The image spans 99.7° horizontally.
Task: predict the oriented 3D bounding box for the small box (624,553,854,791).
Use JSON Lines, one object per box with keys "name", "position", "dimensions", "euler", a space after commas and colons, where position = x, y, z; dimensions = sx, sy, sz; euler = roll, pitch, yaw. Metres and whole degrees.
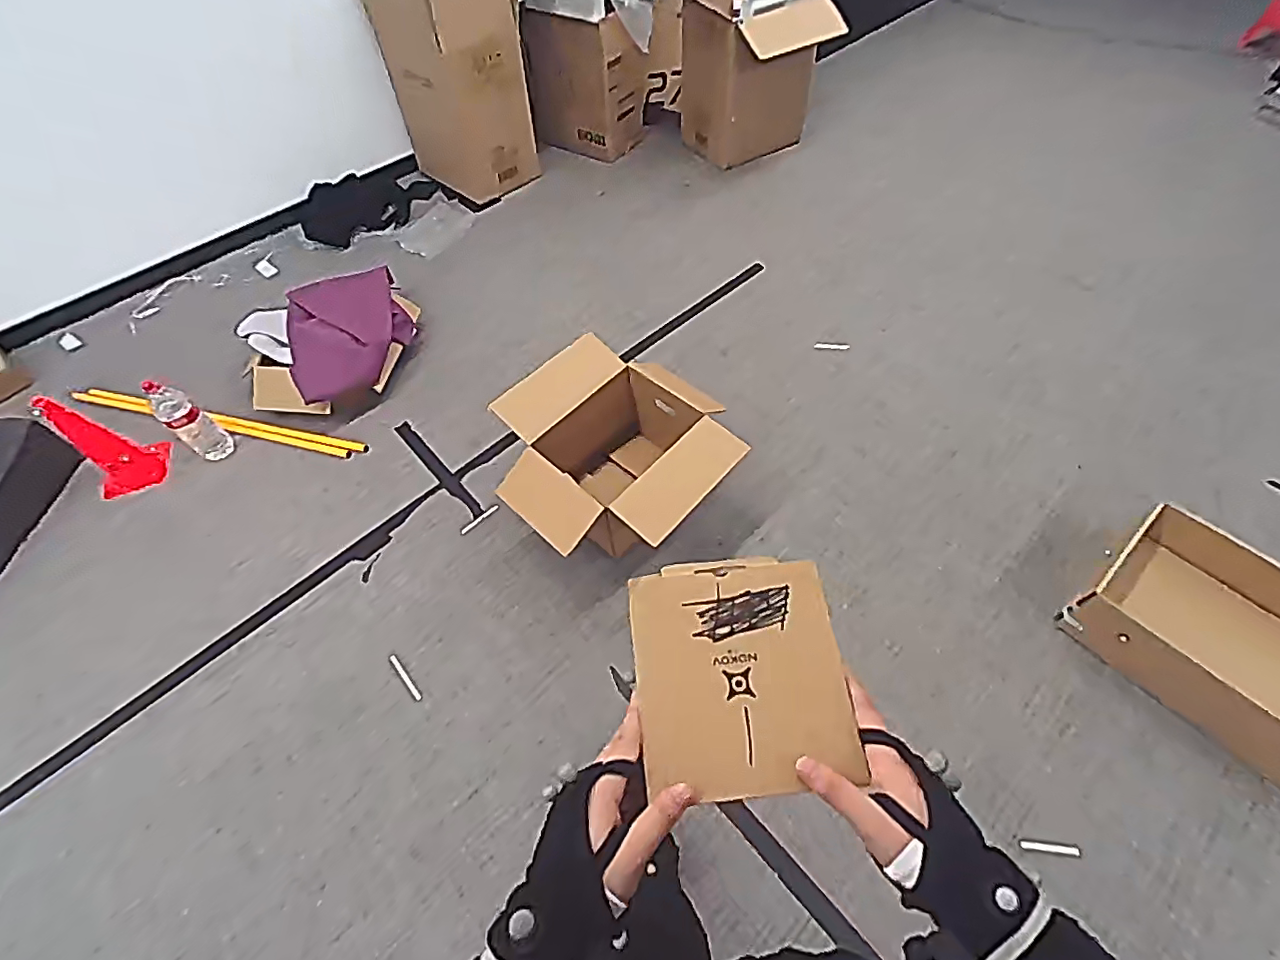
{"name": "small box", "position": [0.074, 0.185, 0.509], "dimensions": [0.168, 0.176, 0.179], "euler": [-6, 63, 0]}
